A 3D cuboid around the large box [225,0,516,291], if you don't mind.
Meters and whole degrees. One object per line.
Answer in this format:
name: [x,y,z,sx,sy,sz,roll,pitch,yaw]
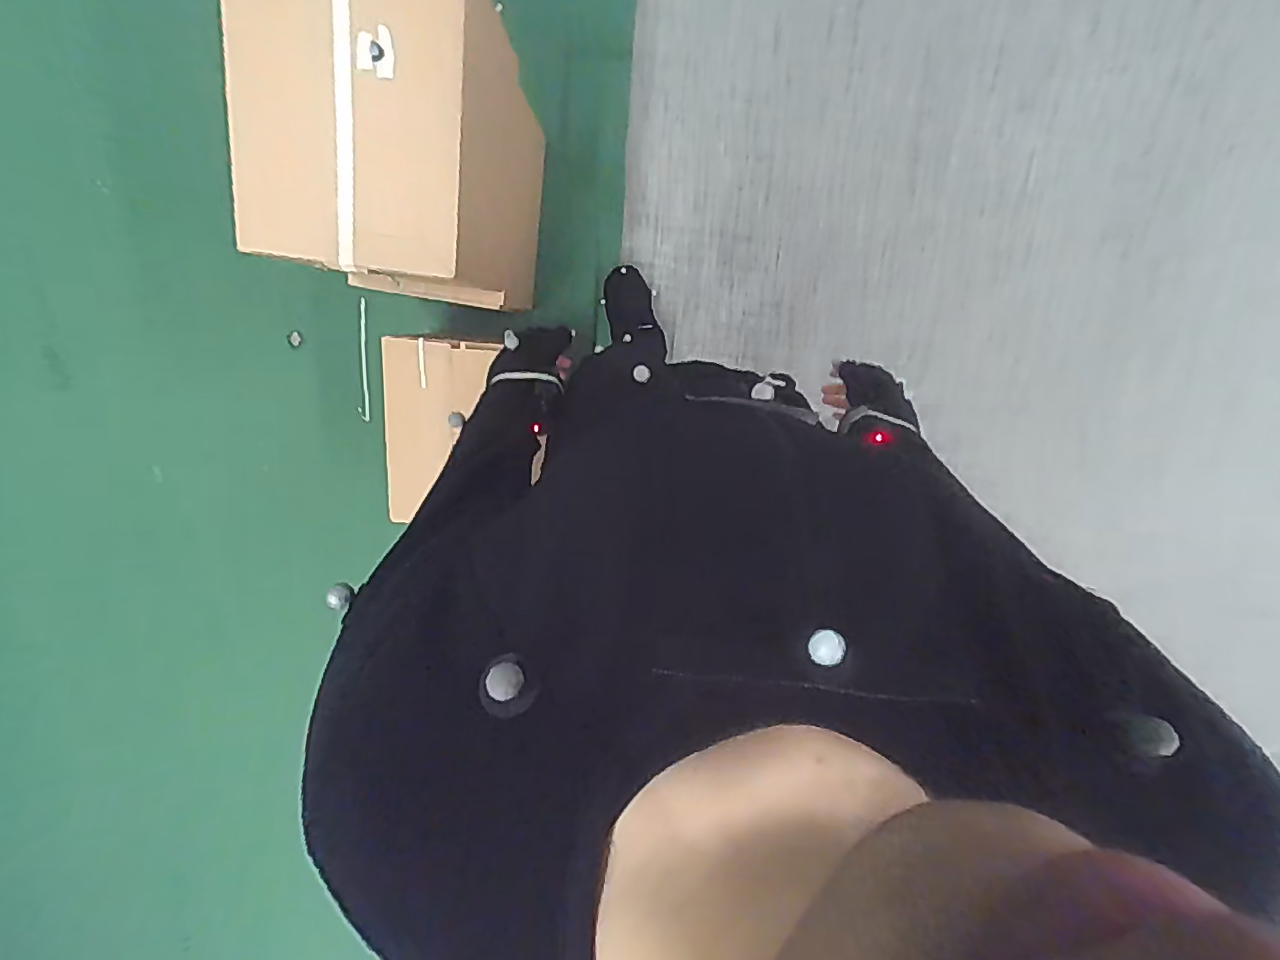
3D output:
large box: [-0.392,-0.539,0.865,0.320,0.320,0.408,7,104,-3]
